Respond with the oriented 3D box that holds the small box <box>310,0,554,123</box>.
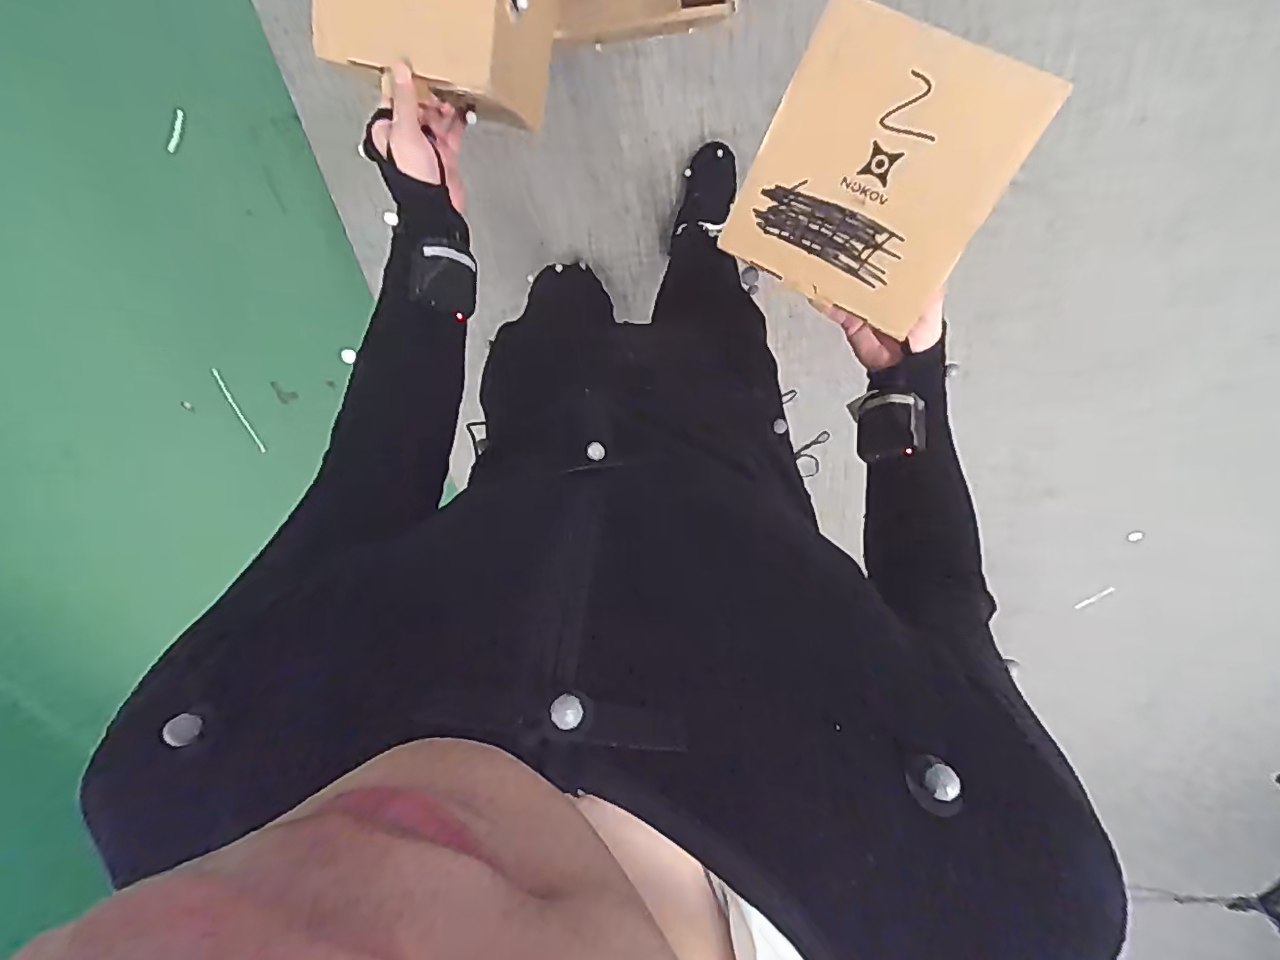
[{"bbox_3d":[-0.188,-0.476,0.524,0.168,0.176,0.179,14,111,2],"label":"small box"}]
